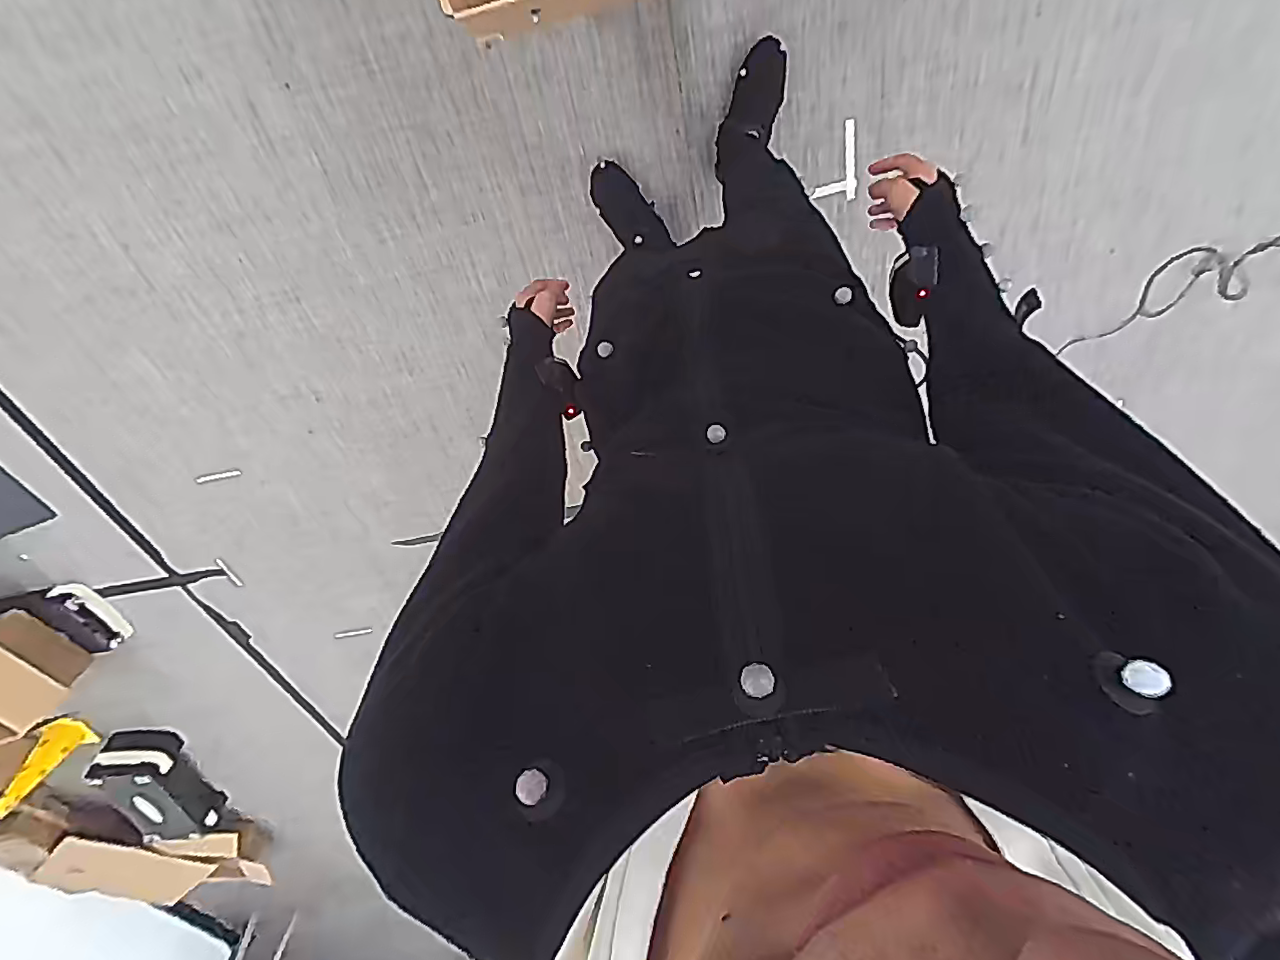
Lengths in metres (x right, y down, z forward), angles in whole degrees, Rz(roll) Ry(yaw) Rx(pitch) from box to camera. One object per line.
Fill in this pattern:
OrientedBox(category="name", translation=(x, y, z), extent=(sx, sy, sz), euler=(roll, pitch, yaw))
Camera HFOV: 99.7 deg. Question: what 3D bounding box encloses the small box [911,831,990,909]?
OrientedBox(category="small box", translation=(1.029, 1.298, 1.809), extent=(0.168, 0.176, 0.179), euler=(-12, 127, 5))
